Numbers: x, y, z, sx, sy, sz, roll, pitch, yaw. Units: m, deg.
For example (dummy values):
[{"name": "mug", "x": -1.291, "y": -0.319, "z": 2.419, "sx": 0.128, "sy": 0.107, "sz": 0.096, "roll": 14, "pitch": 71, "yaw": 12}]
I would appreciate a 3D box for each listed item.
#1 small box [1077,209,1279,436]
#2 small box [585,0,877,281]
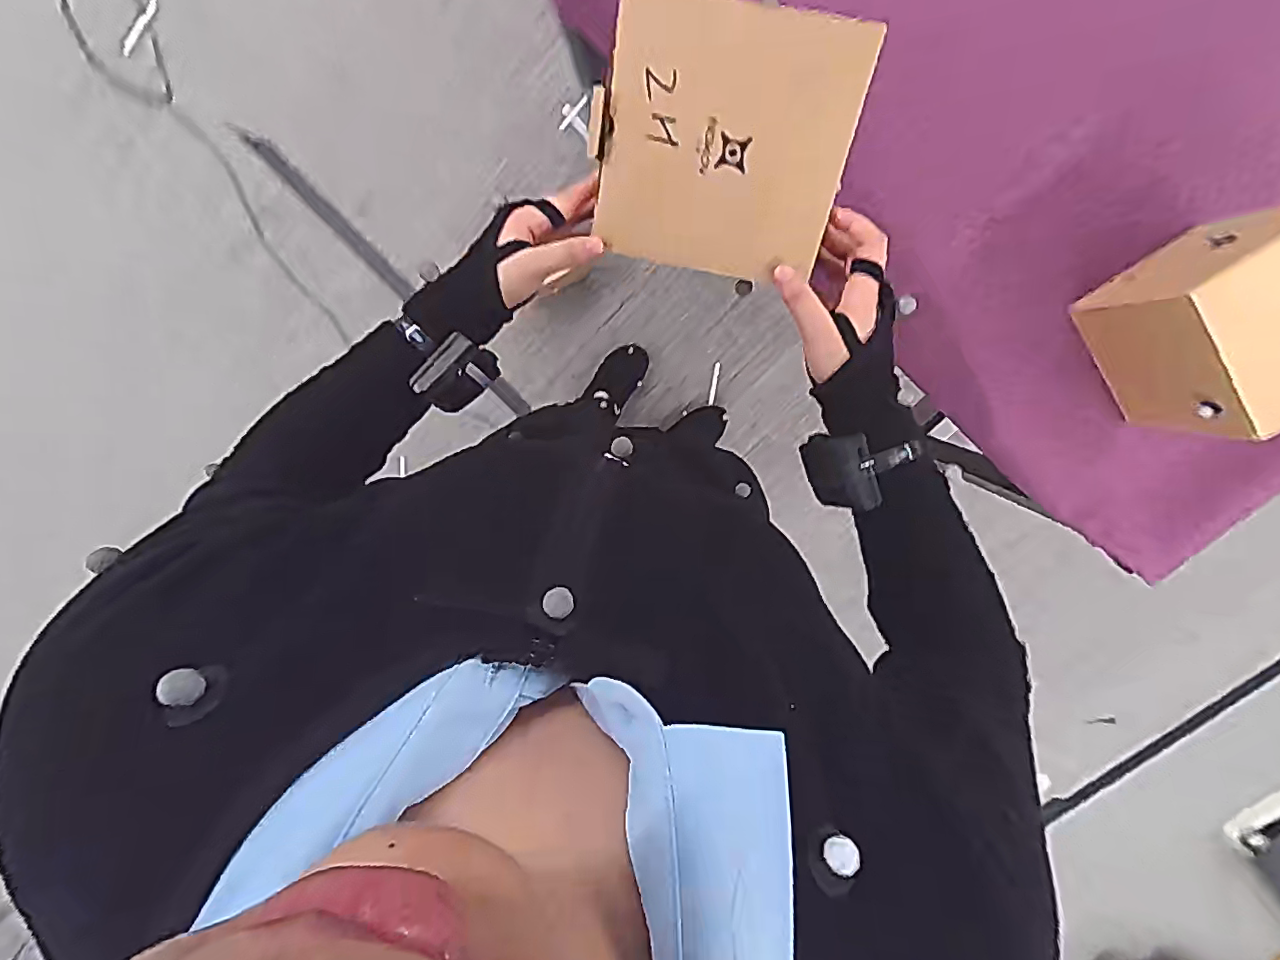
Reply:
[{"name": "small box", "x": 0.640, "y": -0.172, "z": 0.590, "sx": 0.168, "sy": 0.176, "sz": 0.179, "roll": -34, "pitch": 99, "yaw": 10}, {"name": "small box", "x": 0.065, "y": -0.278, "z": 0.453, "sx": 0.179, "sy": 0.176, "sz": 0.168, "roll": 12, "pitch": 118, "yaw": 3}]
